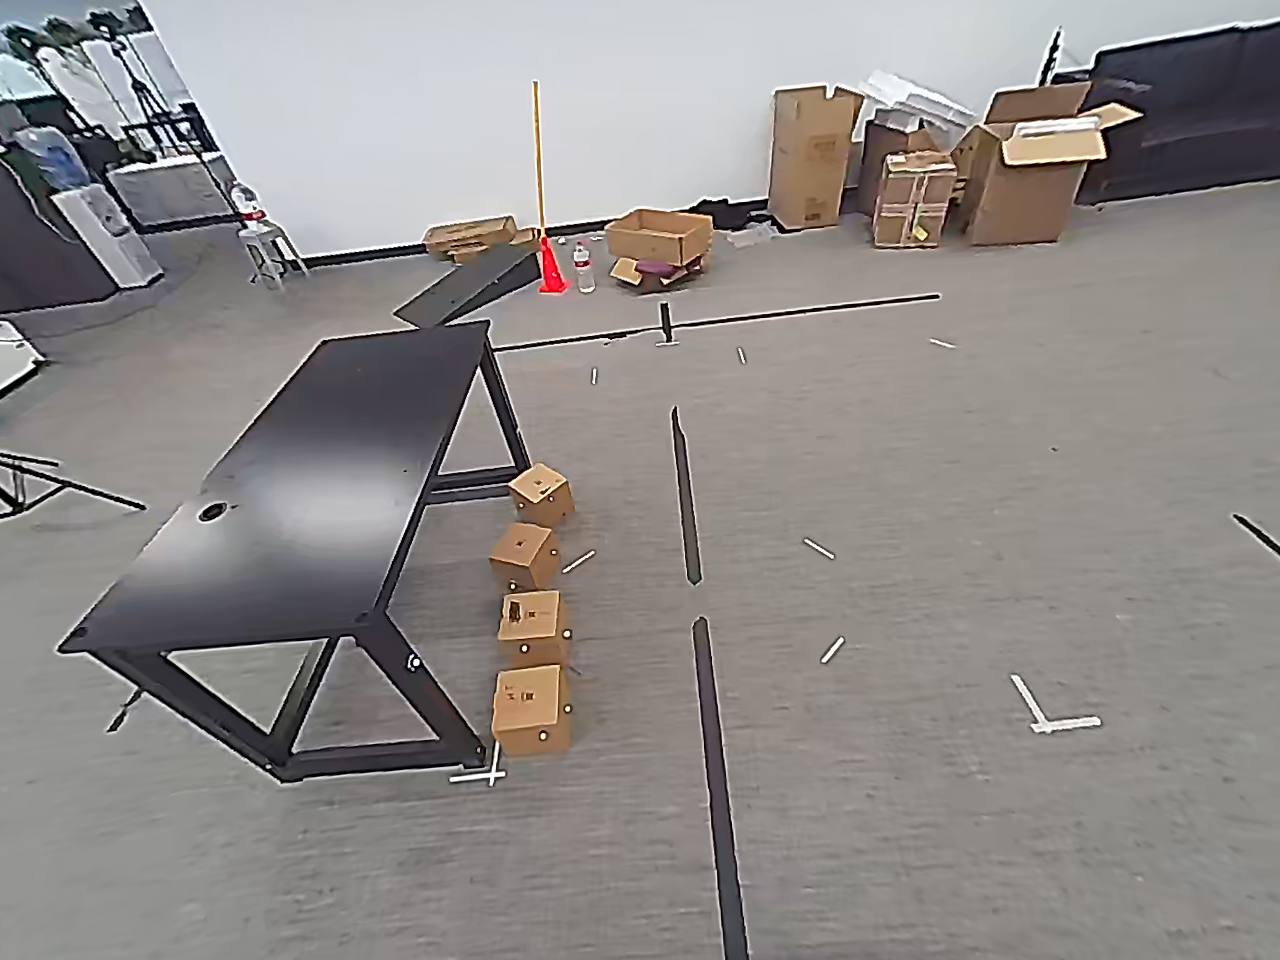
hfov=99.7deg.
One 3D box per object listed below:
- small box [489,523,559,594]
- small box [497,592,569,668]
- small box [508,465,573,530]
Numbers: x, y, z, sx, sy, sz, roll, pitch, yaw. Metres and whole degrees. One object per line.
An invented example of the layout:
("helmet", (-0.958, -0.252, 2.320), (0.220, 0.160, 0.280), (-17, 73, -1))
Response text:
("small box", (-0.403, 0.283, 1.916), (0.168, 0.176, 0.179), (8, 46, 19))
("small box", (-0.329, 0.473, 1.694), (0.179, 0.176, 0.168), (-5, 42, 1))
("small box", (-0.389, 0.075, 2.136), (0.179, 0.176, 0.168), (28, 54, 33))
